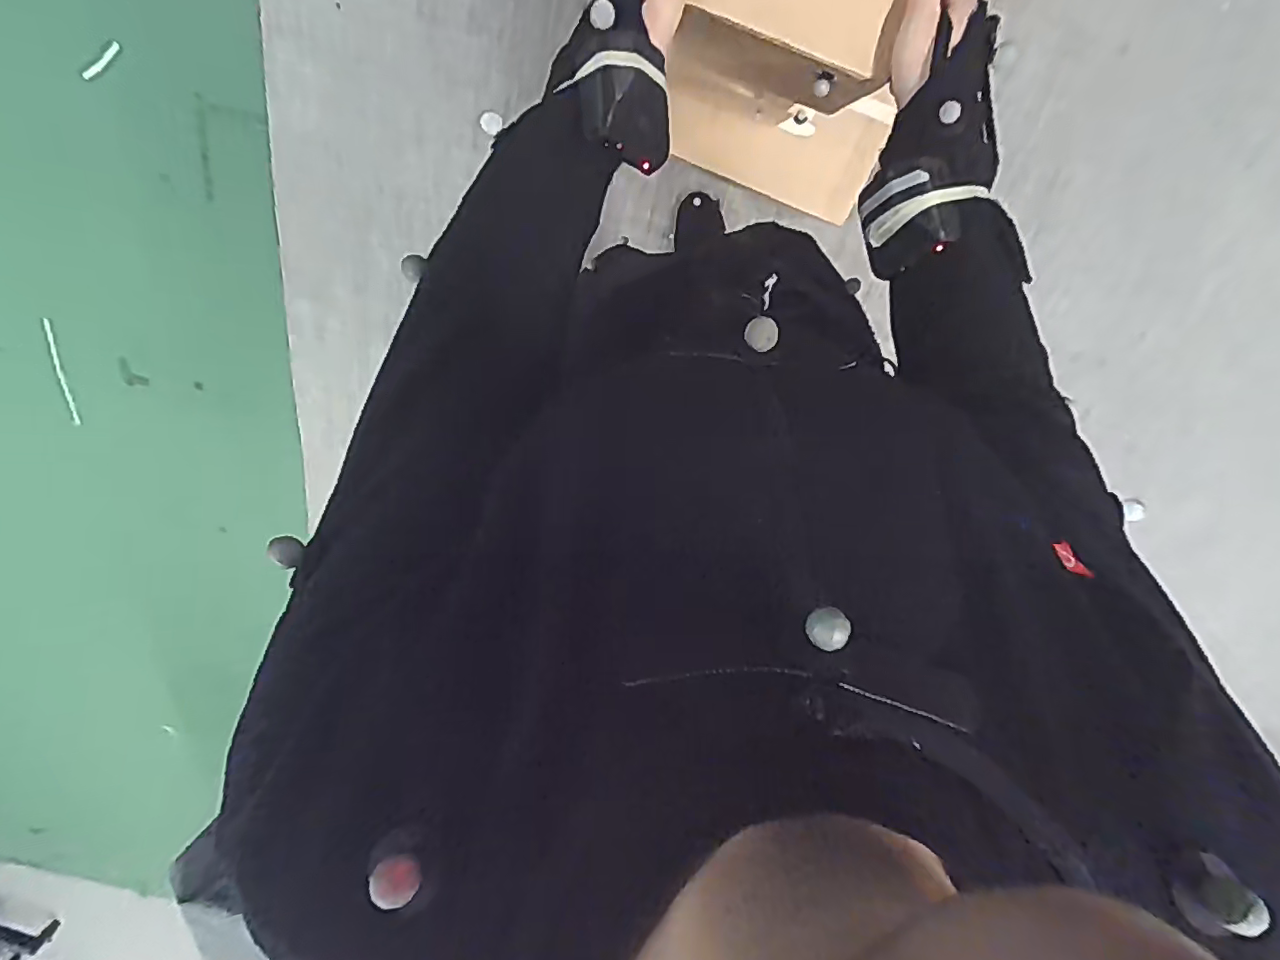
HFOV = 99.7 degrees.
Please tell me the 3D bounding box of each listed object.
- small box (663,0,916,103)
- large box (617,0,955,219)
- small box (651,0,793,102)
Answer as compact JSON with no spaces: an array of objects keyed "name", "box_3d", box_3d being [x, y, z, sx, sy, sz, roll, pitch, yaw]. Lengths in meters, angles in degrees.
[{"name":"small box","box_3d":[0.120,-0.415,0.410,0.179,0.176,0.168,17,118,-5]},{"name":"large box","box_3d":[0.206,-0.677,0.910,0.408,0.320,0.320,19,120,-6]},{"name":"small box","box_3d":[0.126,-0.512,0.543,0.179,0.176,0.168,24,117,-7]}]
